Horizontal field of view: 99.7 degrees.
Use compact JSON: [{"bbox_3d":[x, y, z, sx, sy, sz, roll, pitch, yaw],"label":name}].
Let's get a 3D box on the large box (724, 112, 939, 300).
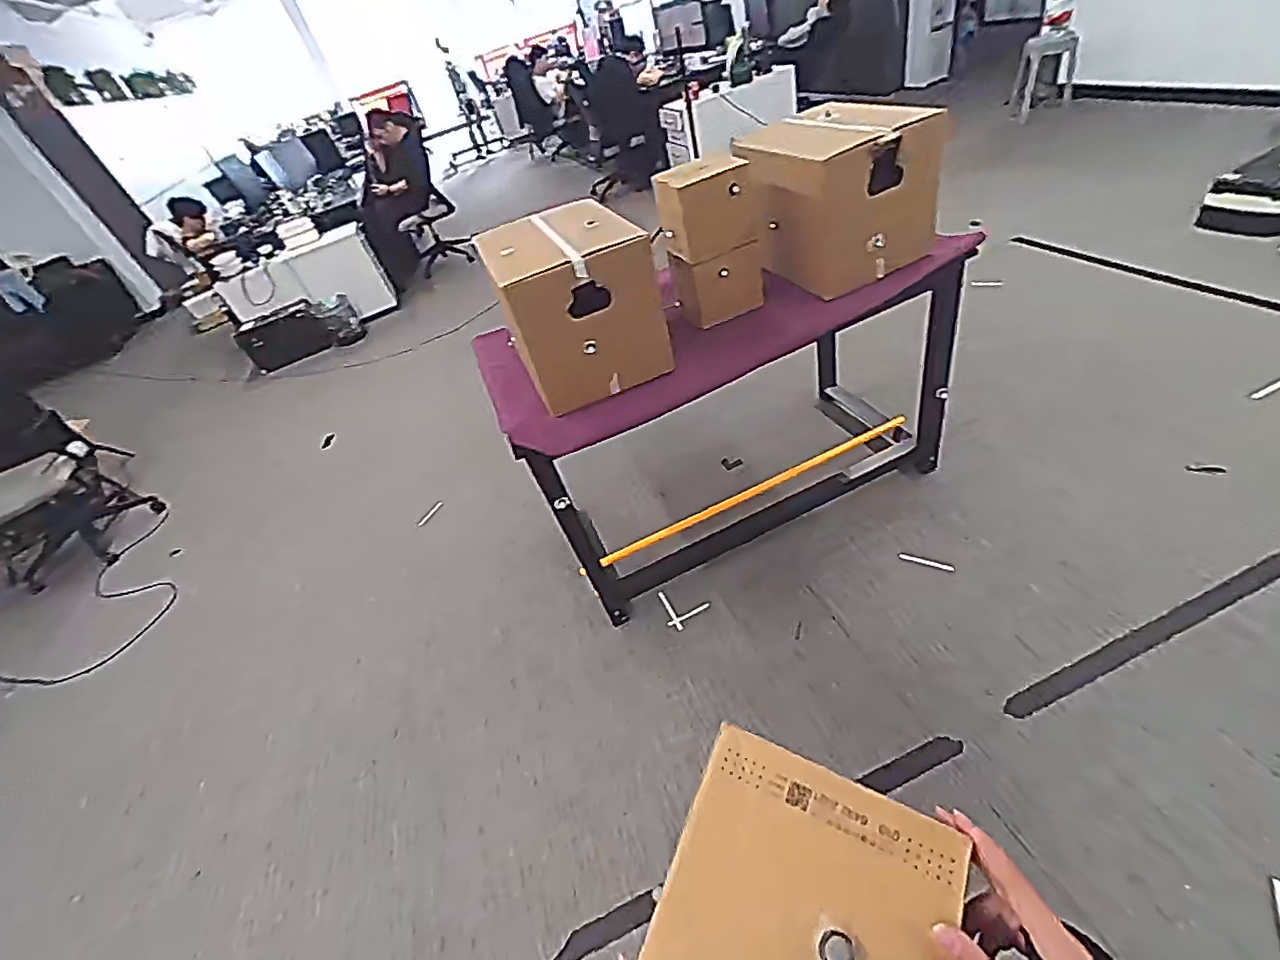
[{"bbox_3d":[0.466,-0.701,1.364,0.320,0.320,0.408,-25,40,-8],"label":"large box"}]
